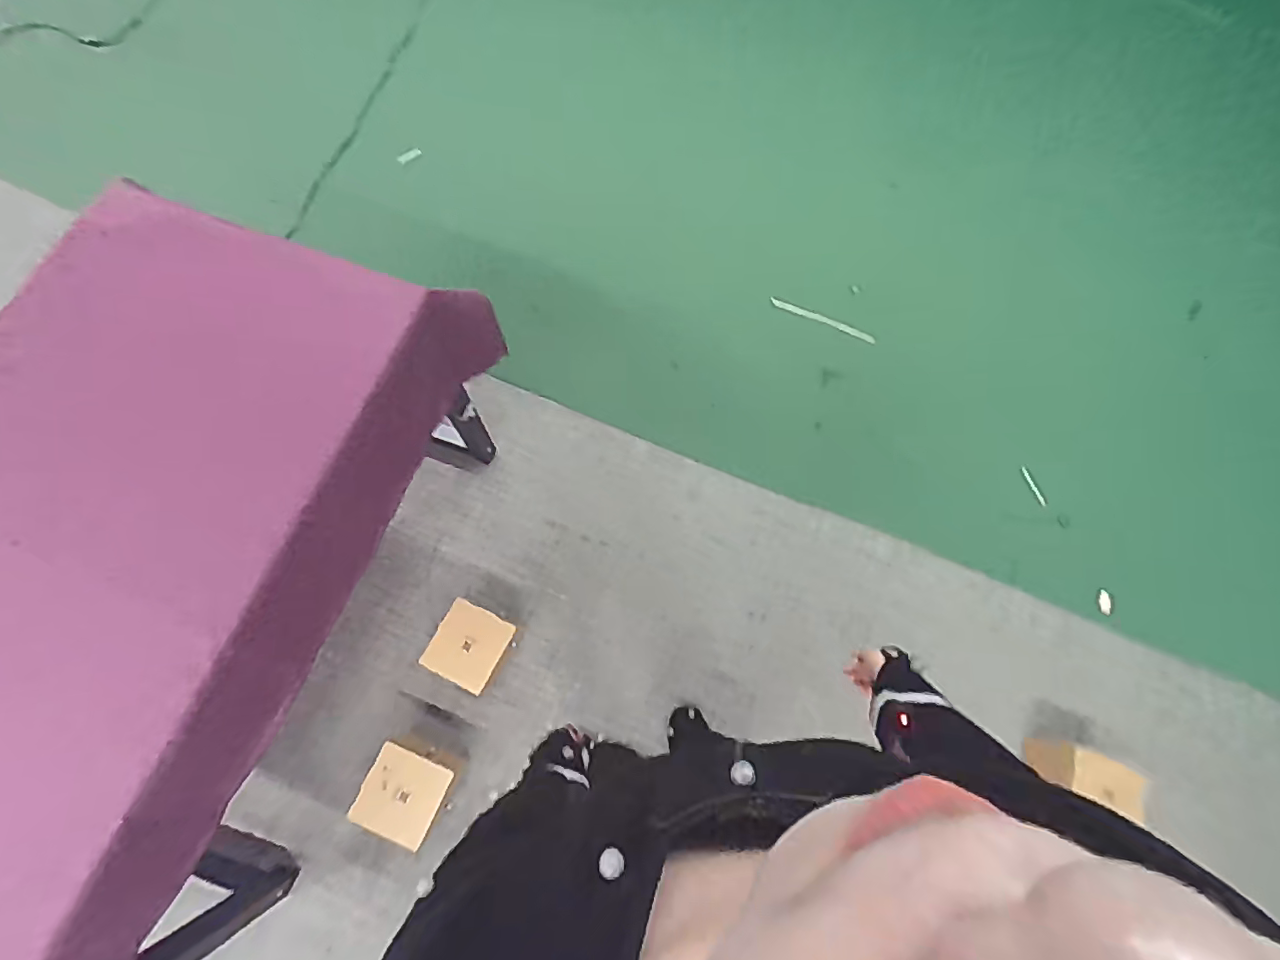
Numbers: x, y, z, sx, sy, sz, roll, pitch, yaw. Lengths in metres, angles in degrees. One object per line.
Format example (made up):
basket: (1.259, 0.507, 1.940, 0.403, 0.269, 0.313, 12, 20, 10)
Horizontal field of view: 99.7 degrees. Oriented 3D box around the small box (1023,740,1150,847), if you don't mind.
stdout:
small box: (1.092, 0.758, 1.332, 0.179, 0.176, 0.168, 21, 72, 3)
